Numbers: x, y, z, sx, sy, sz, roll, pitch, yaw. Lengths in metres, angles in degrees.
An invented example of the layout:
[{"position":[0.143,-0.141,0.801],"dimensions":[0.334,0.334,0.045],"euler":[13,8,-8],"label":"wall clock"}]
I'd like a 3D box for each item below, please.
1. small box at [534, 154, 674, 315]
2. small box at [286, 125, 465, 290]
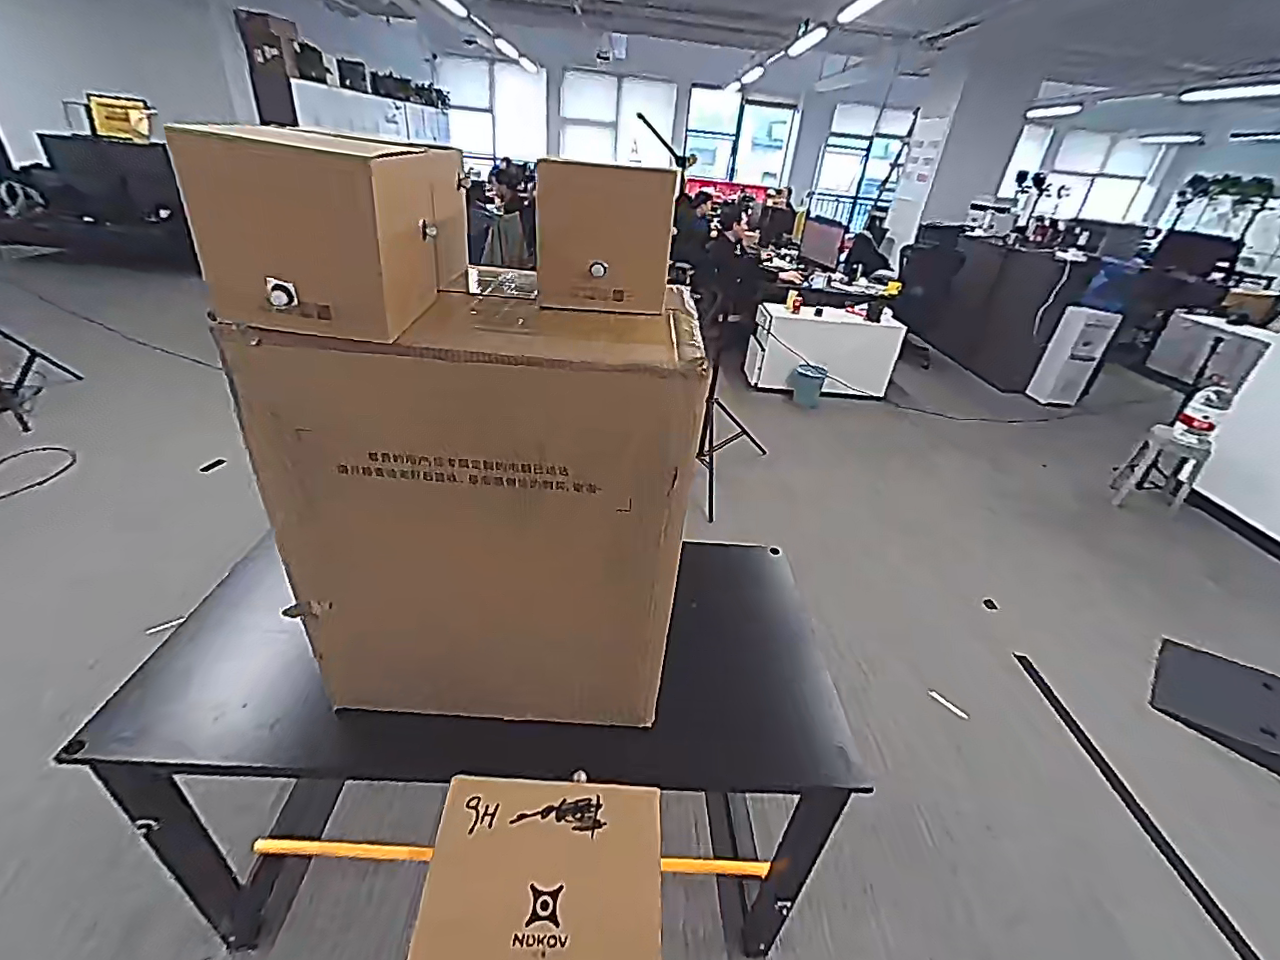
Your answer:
[{"position":[-0.051,-0.333,0.732],"dimensions":[0.168,0.176,0.179],"euler":[2,30,-5],"label":"small box"},{"position":[-0.343,-0.370,0.742],"dimensions":[0.168,0.176,0.179],"euler":[4,29,-5],"label":"small box"}]
